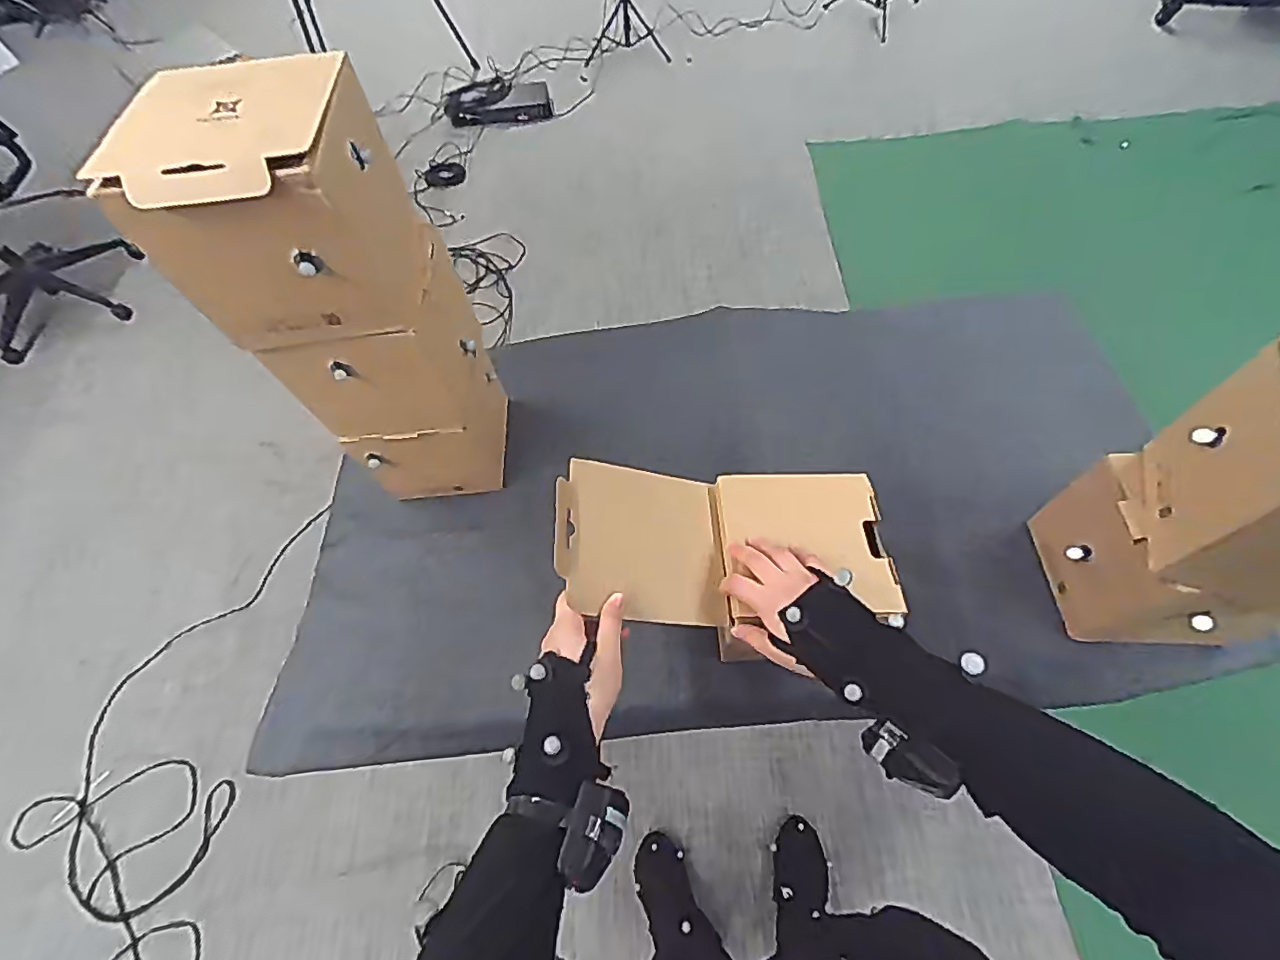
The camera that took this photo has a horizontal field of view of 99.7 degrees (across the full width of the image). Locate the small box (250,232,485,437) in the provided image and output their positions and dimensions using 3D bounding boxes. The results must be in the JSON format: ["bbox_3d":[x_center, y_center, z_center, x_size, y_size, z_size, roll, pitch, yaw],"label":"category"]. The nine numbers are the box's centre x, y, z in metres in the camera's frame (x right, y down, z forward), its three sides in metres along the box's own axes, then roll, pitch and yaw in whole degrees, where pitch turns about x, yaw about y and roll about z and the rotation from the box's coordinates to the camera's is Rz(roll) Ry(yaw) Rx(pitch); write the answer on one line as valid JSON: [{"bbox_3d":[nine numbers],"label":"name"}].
[{"bbox_3d":[-0.302,-0.163,0.643,0.179,0.176,0.168,-5,62,1],"label":"small box"}]

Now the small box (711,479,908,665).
[{"bbox_3d":[0.181,0.115,0.639,0.179,0.176,0.168,-5,59,4],"label":"small box"}]

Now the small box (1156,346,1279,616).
[{"bbox_3d":[0.599,0.015,0.468,0.179,0.176,0.168,19,61,15],"label":"small box"}]

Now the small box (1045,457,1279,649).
[{"bbox_3d":[0.607,0.088,0.615,0.179,0.176,0.168,0,58,6],"label":"small box"}]

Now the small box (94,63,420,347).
[{"bbox_3d":[-0.320,-0.240,0.501,0.168,0.176,0.179,-8,60,-1],"label":"small box"}]
